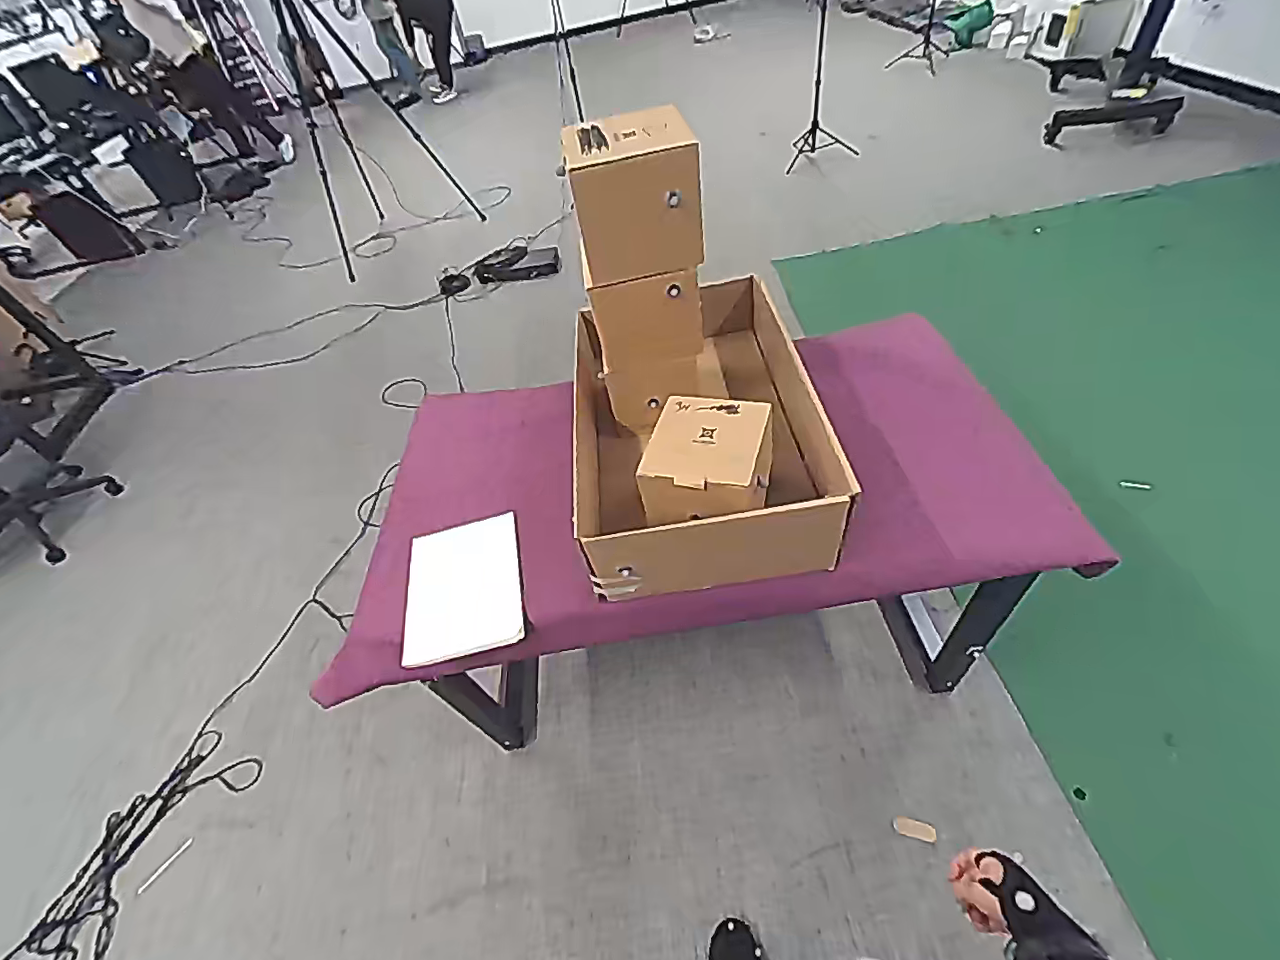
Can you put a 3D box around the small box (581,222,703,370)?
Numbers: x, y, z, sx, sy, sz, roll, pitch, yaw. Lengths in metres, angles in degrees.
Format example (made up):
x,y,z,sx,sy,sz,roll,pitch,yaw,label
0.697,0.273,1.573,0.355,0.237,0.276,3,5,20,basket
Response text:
x,y,z,sx,sy,sz,roll,pitch,yaw,label
0.005,-0.310,0.930,0.179,0.176,0.168,-11,50,2,small box

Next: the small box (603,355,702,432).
x,y,z,sx,sy,sz,roll,pitch,yaw,label
0.025,-0.209,1.055,0.168,0.176,0.179,-9,50,4,small box
